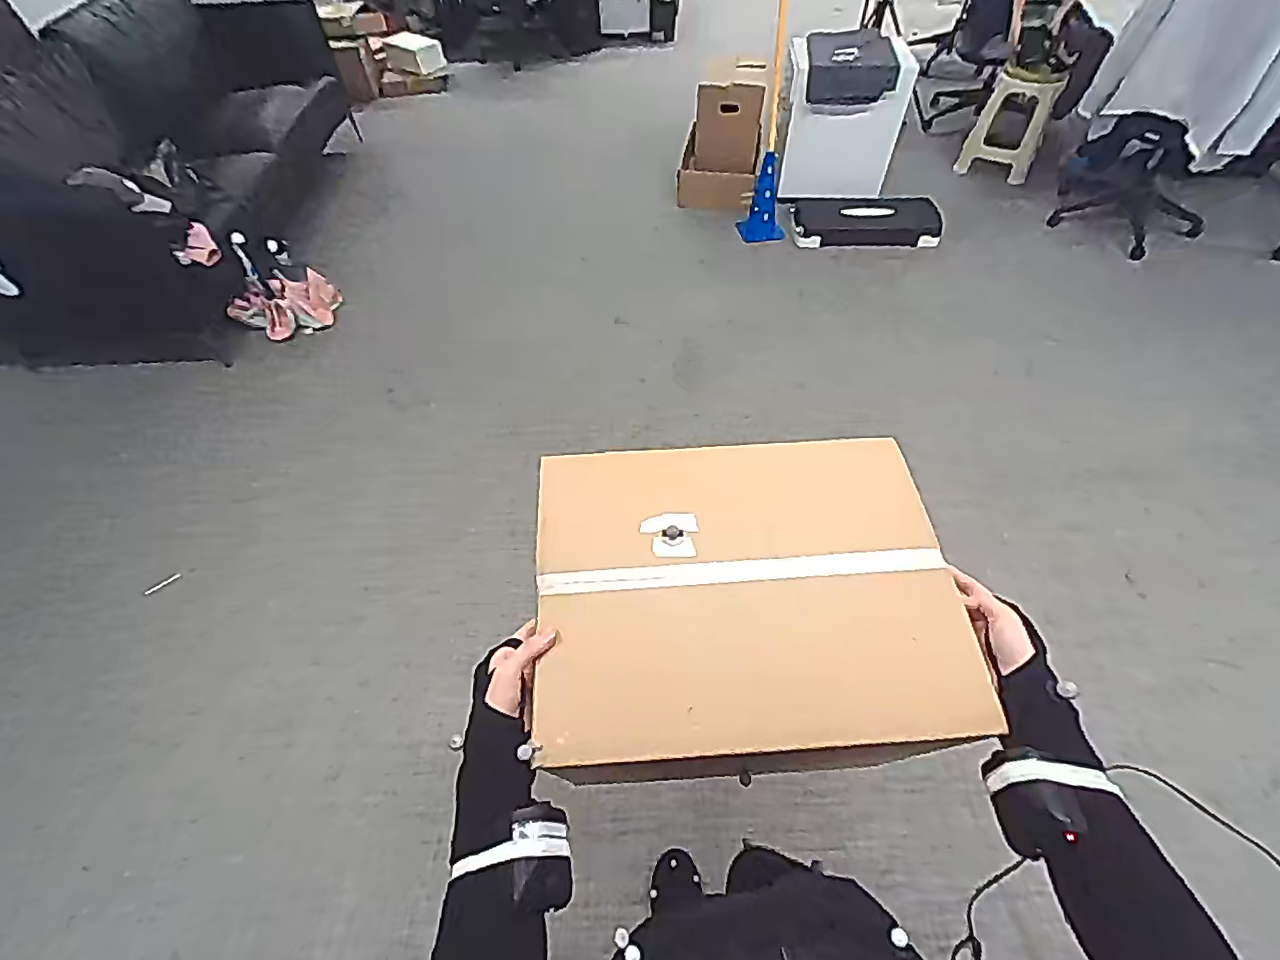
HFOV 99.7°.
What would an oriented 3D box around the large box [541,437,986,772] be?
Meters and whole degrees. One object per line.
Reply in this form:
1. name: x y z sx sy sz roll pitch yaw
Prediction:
1. large box: 0.105 0.171 0.677 0.408 0.320 0.320 -4 58 -1
